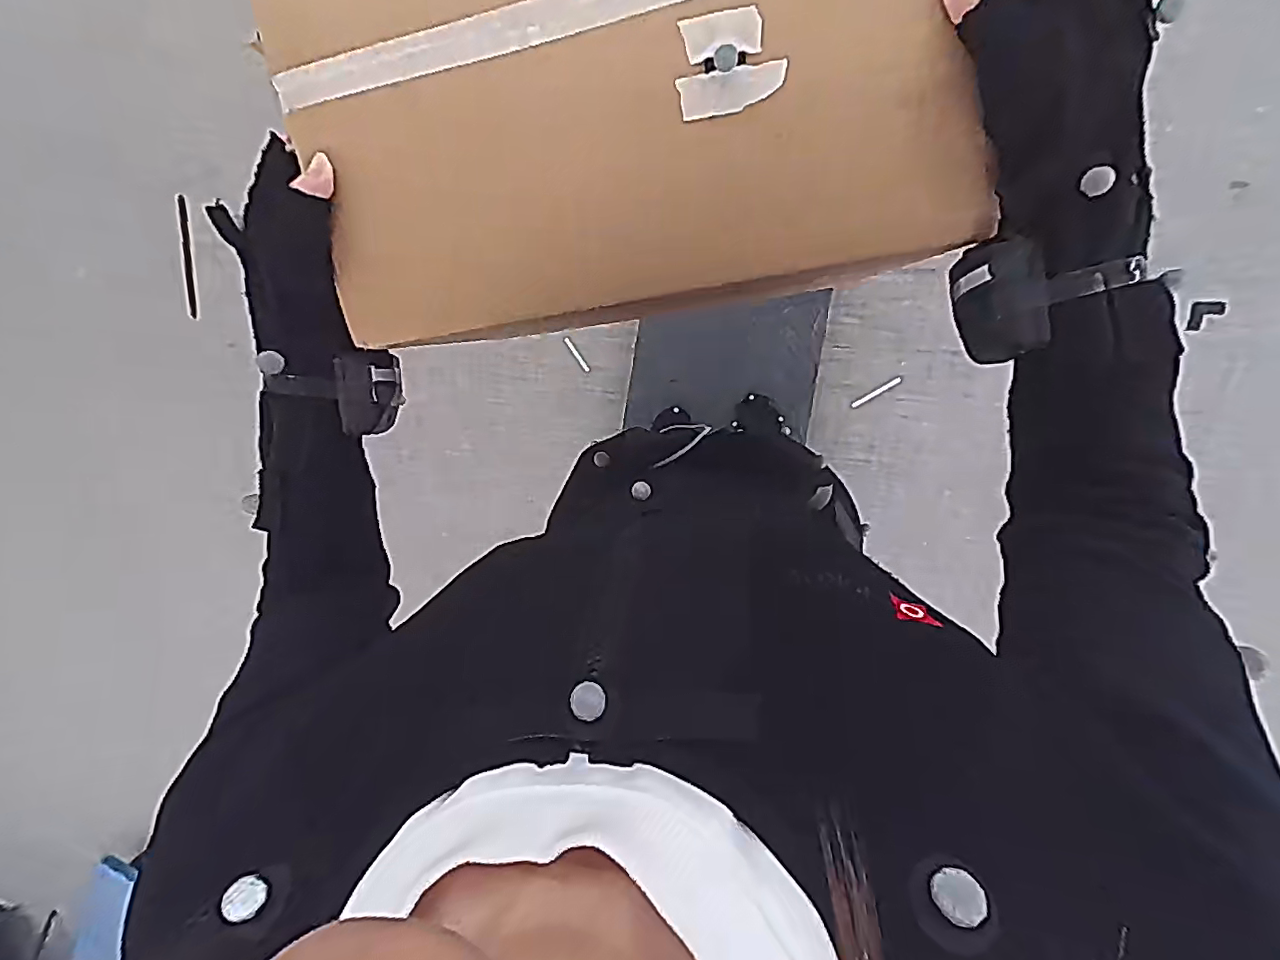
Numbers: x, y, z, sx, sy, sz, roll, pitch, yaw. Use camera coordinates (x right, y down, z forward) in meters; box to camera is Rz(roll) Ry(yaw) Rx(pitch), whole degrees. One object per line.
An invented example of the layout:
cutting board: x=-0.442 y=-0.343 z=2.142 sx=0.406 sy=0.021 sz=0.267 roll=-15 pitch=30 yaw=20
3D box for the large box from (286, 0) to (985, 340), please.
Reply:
large box: x=0.001 y=-0.310 z=0.454 sx=0.408 sy=0.320 sz=0.320 roll=-7 pitch=106 yaw=10
